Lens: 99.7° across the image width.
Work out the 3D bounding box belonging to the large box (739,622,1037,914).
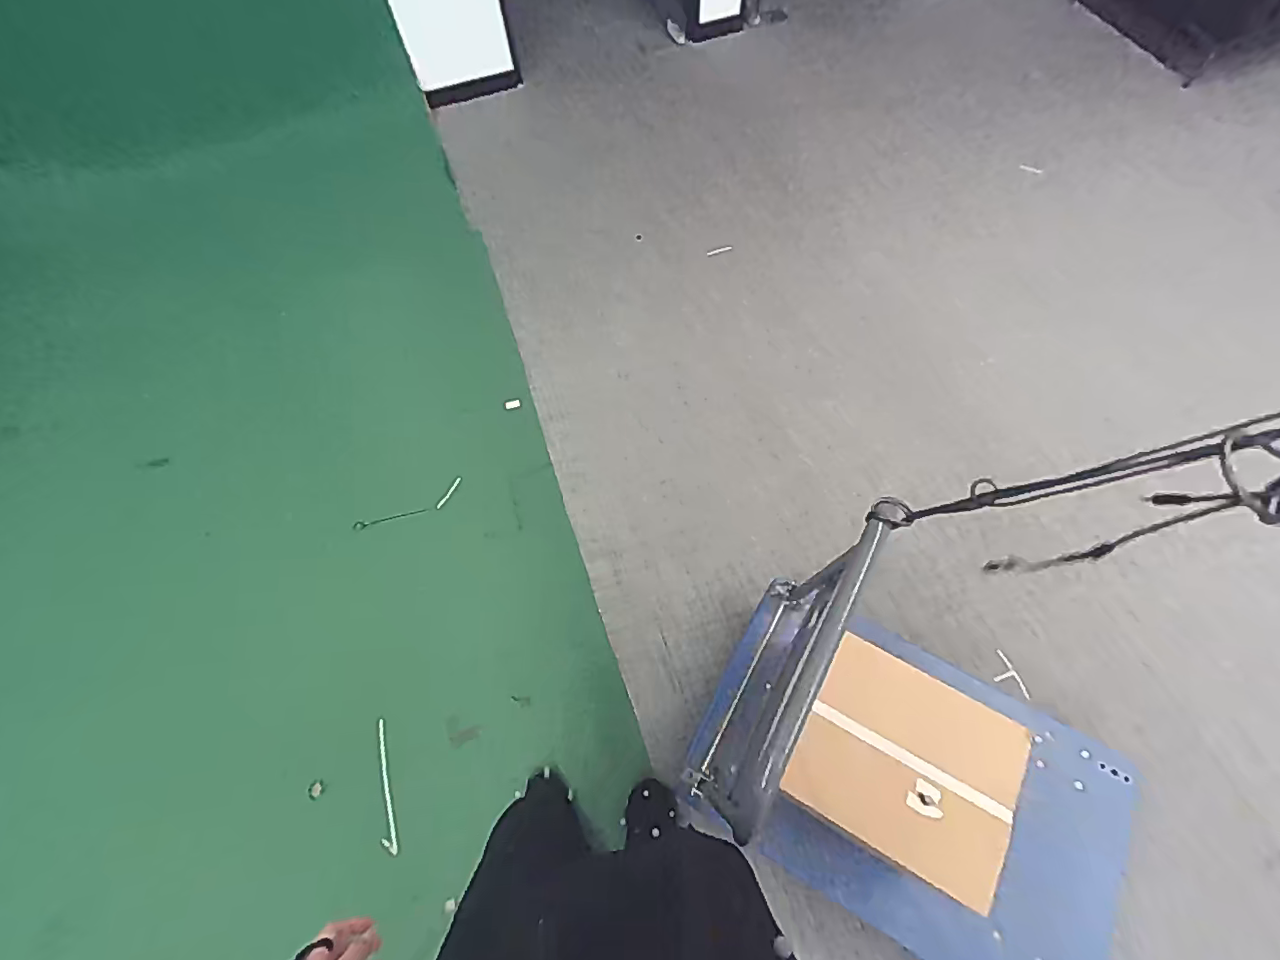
[{"bbox_3d":[0.459,0.542,1.082,0.408,0.320,0.320,28,69,14],"label":"large box"}]
